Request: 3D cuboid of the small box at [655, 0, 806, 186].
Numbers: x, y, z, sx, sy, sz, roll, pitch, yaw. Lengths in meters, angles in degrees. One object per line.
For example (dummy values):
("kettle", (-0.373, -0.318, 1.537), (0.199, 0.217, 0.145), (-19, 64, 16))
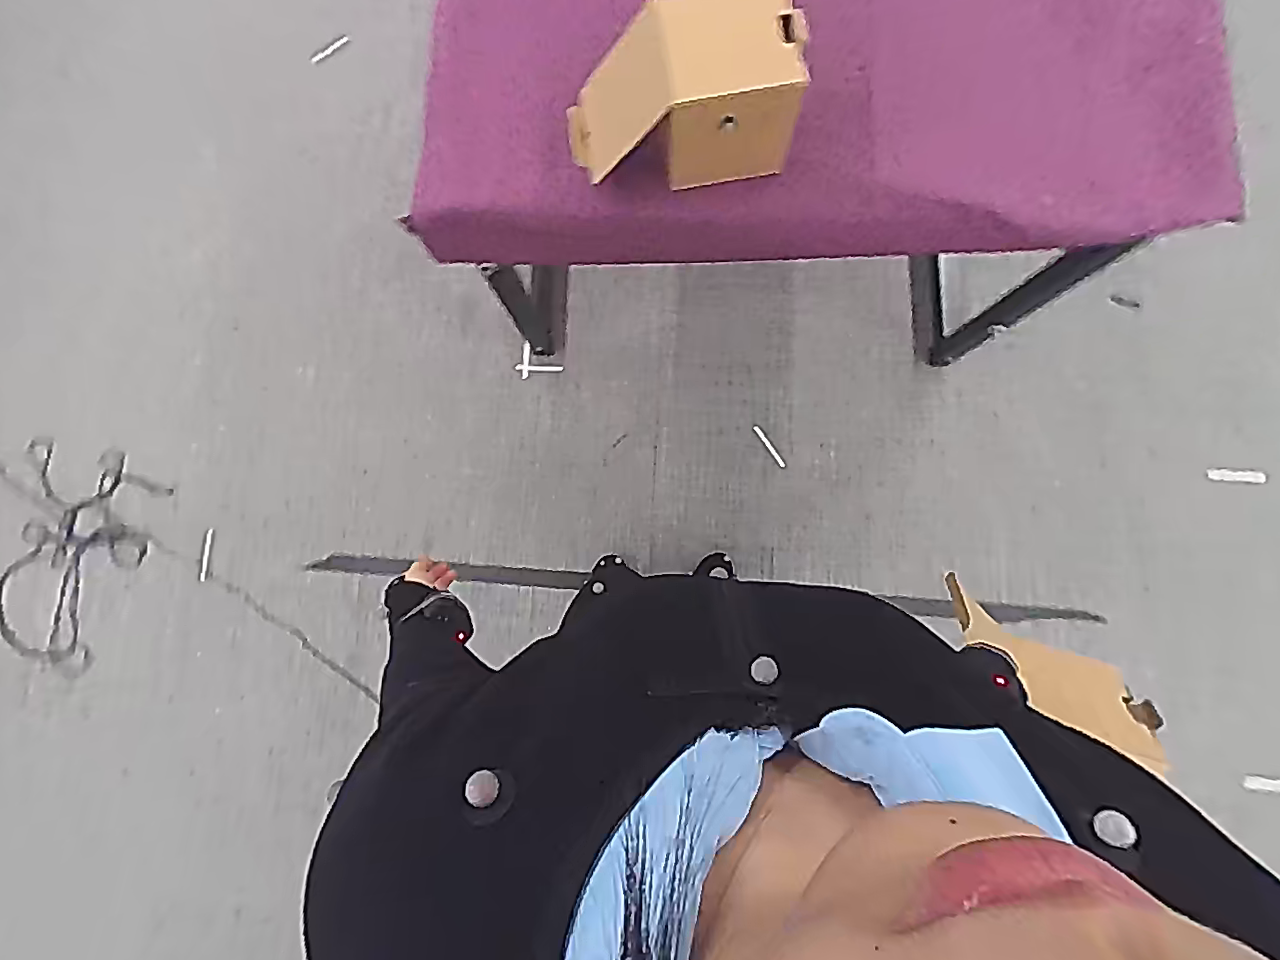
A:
("small box", (0.121, -0.554, 0.777), (0.179, 0.176, 0.168), (-8, 82, 2))
